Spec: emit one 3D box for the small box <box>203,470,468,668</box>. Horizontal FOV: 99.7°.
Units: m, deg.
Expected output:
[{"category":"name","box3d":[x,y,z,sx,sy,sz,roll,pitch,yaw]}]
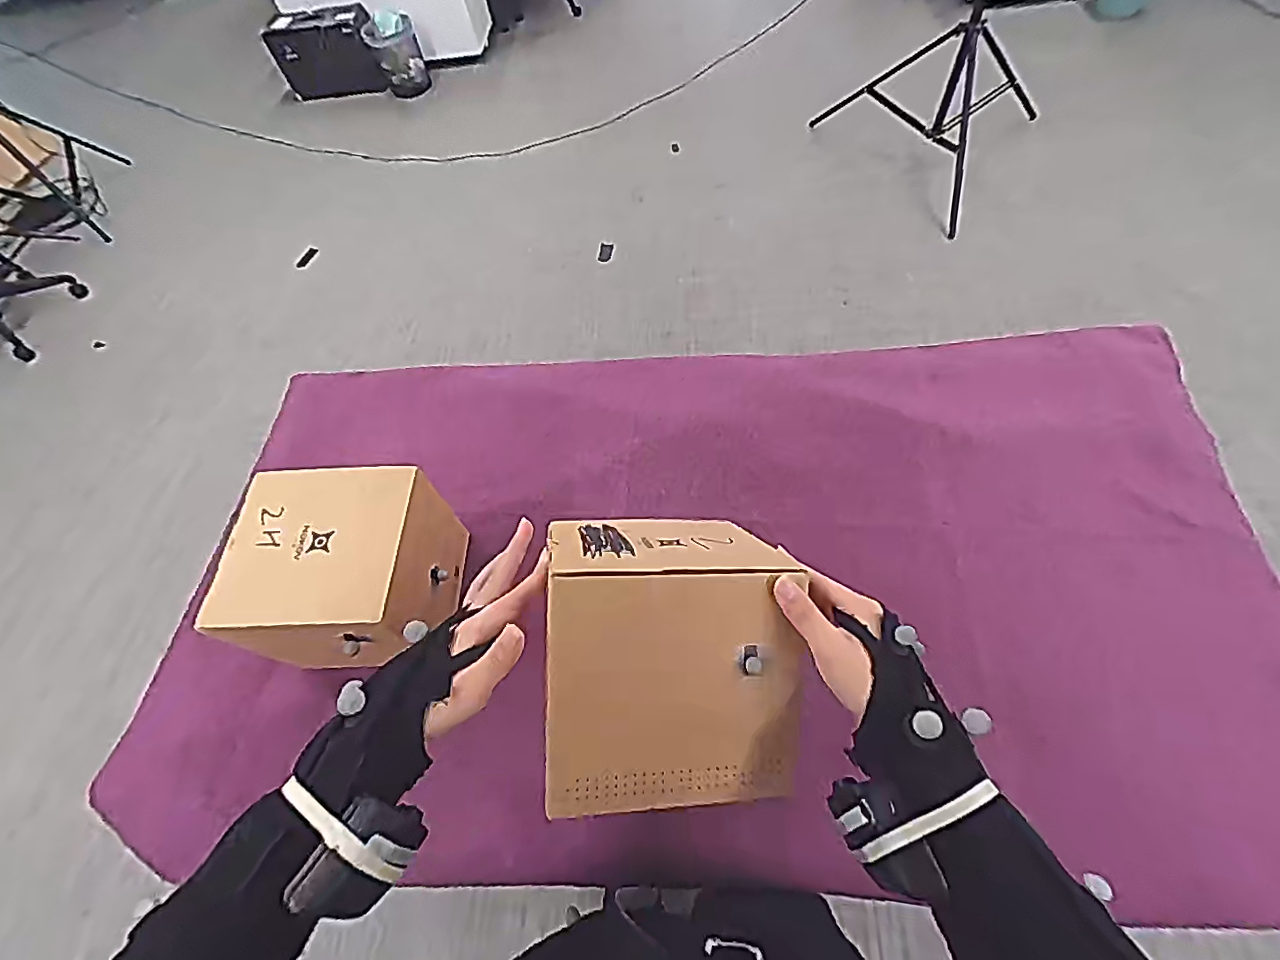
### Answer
[{"category":"small box","box3d":[-0.305,0.103,0.593,0.179,0.176,0.168,-2,59,3]}]
